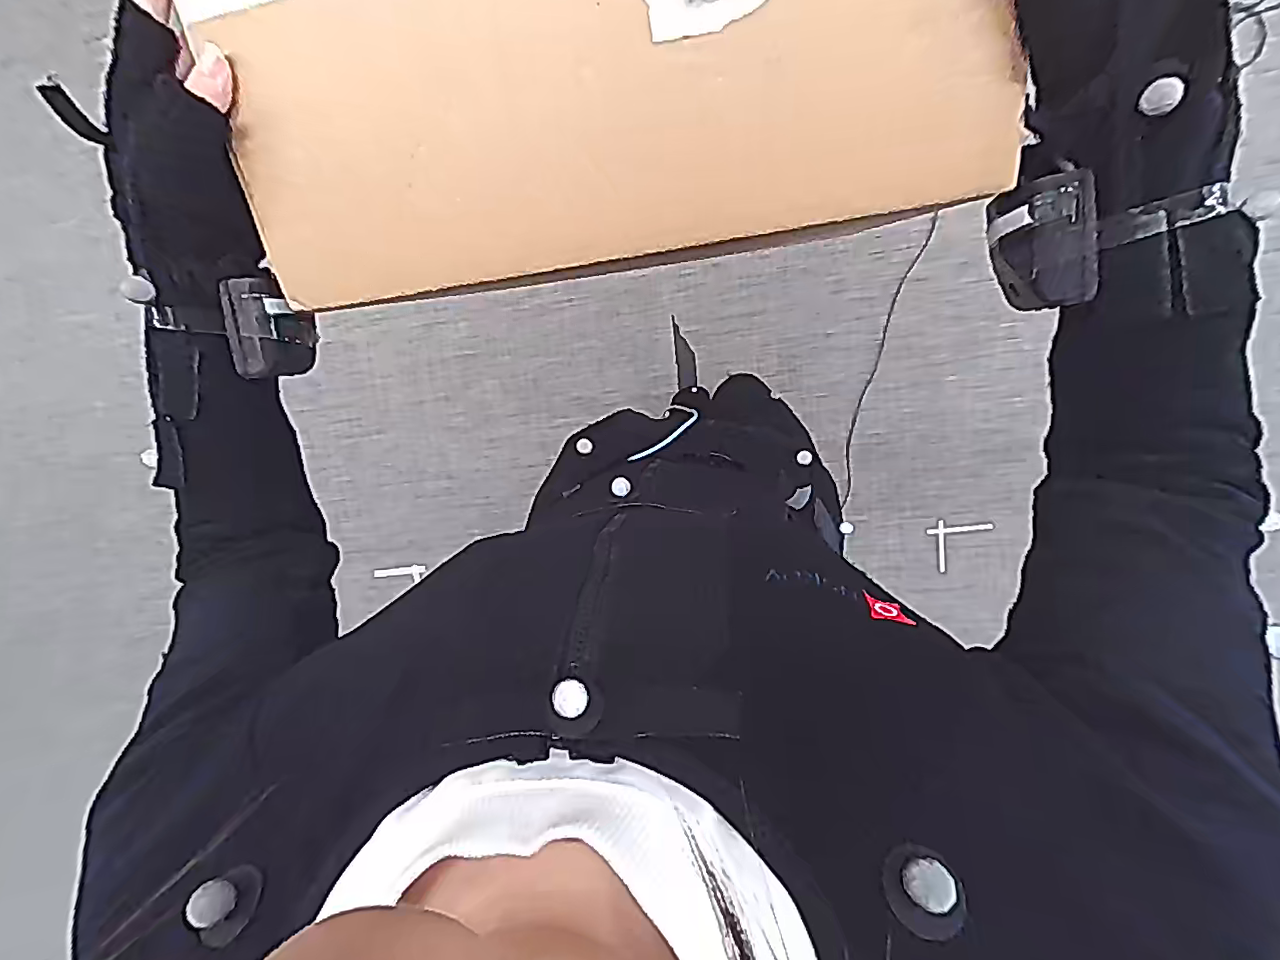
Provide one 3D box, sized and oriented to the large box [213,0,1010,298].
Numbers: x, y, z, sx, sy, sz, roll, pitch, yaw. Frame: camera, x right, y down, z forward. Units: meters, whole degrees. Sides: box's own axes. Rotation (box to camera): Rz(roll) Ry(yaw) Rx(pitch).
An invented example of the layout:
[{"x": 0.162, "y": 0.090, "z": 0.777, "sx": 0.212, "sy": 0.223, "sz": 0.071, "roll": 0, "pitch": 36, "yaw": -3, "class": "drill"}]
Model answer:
[{"x": -0.018, "y": -0.331, "z": 0.393, "sx": 0.408, "sy": 0.320, "sz": 0.320, "roll": -6, "pitch": 111, "yaw": 10, "class": "large box"}]
